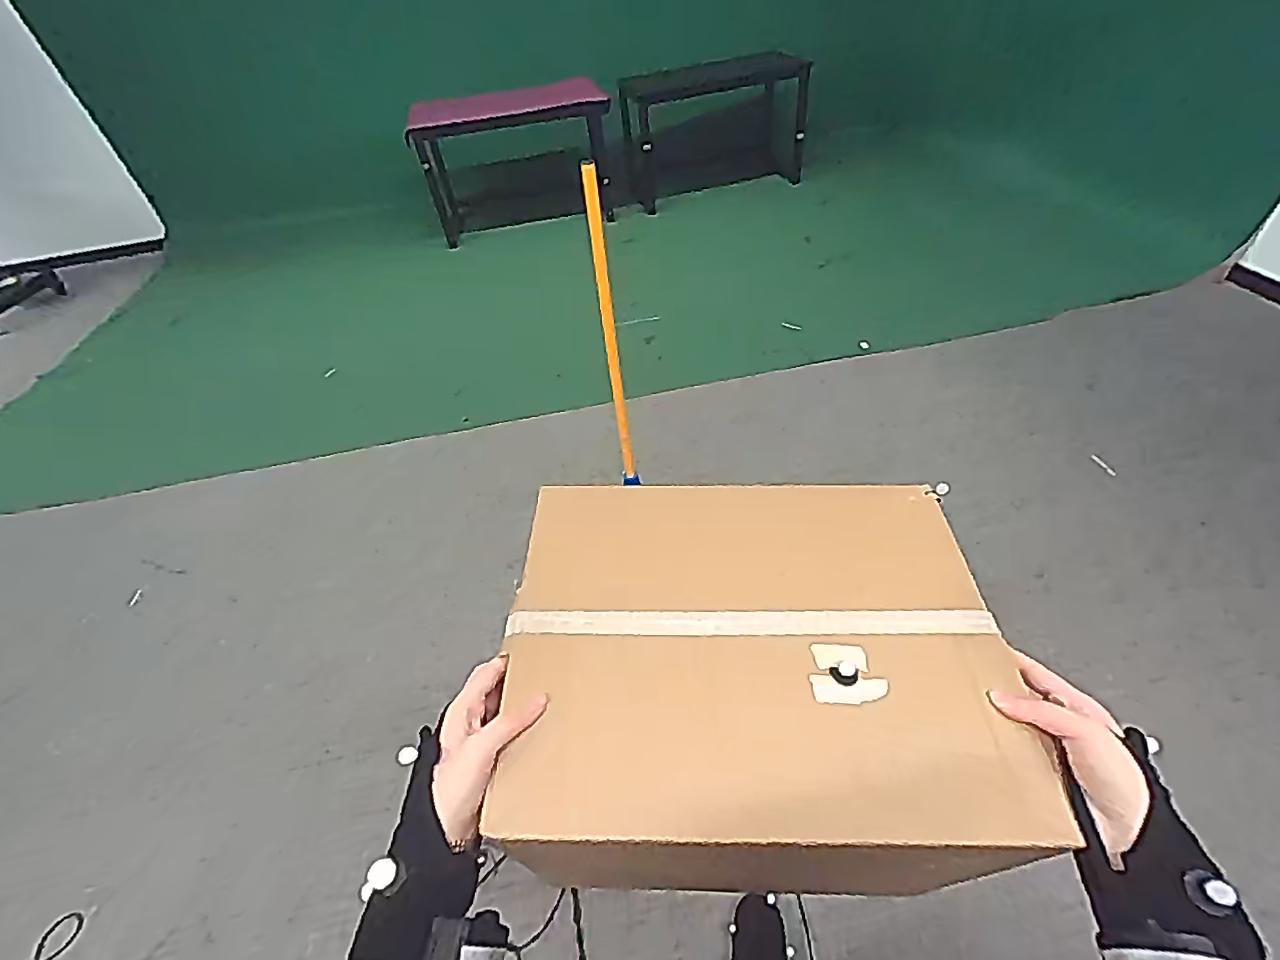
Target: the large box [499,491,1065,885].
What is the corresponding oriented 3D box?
[{"bbox_3d":[0.097,0.225,0.582,0.408,0.320,0.320,1,49,1],"label":"large box"}]
